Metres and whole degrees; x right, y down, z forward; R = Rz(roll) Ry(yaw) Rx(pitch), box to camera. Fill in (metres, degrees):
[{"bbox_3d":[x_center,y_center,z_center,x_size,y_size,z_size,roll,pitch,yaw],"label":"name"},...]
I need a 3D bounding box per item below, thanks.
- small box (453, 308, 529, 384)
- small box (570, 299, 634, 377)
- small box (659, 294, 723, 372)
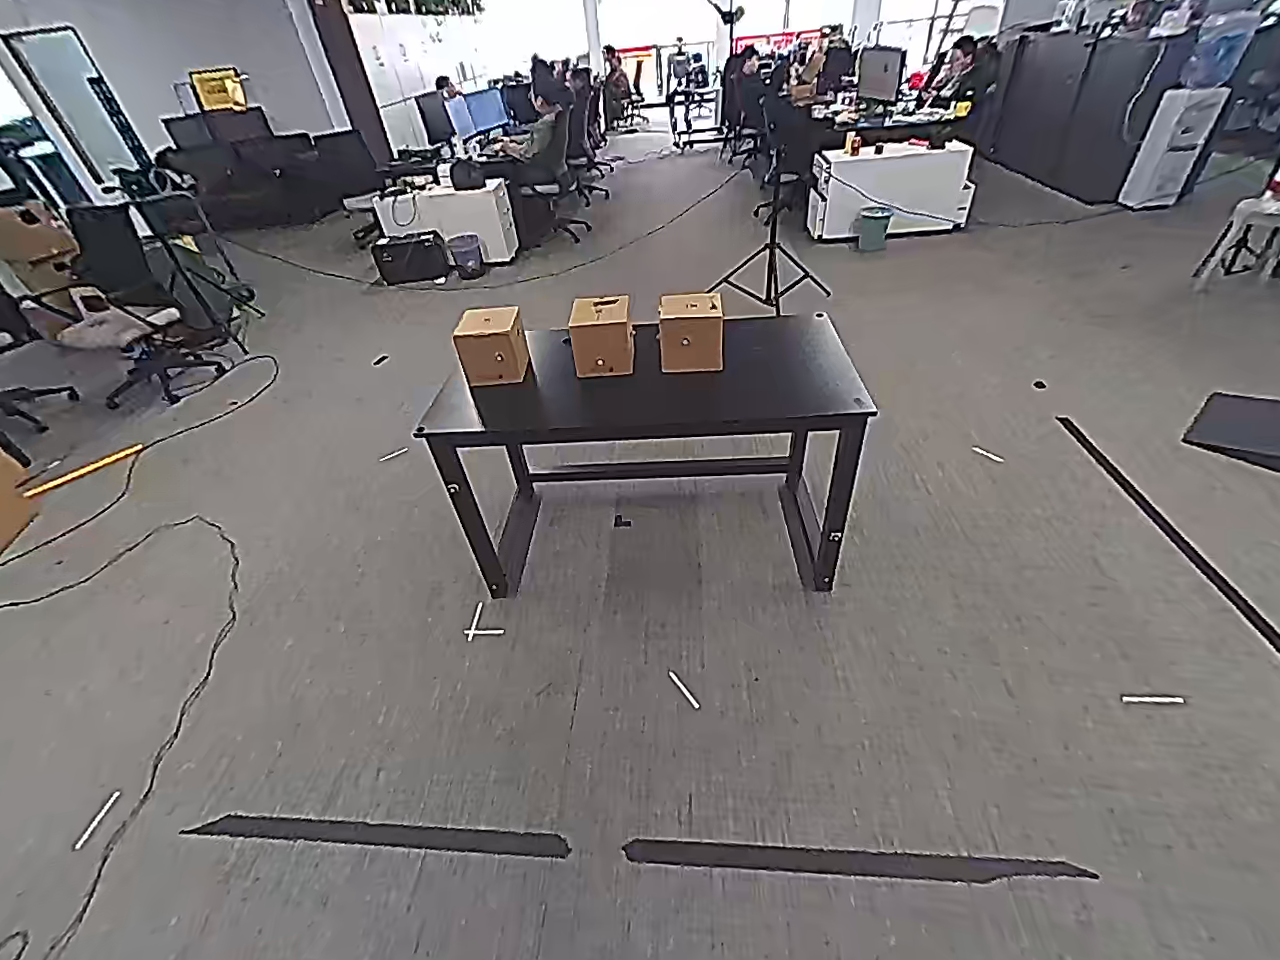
[{"bbox_3d":[-0.439,-0.399,1.624,0.168,0.176,0.179,-4,39,1],"label":"small box"},{"bbox_3d":[-0.107,-0.422,1.608,0.168,0.176,0.179,-3,41,4],"label":"small box"},{"bbox_3d":[0.152,-0.425,1.580,0.179,0.176,0.168,-2,40,7],"label":"small box"}]
